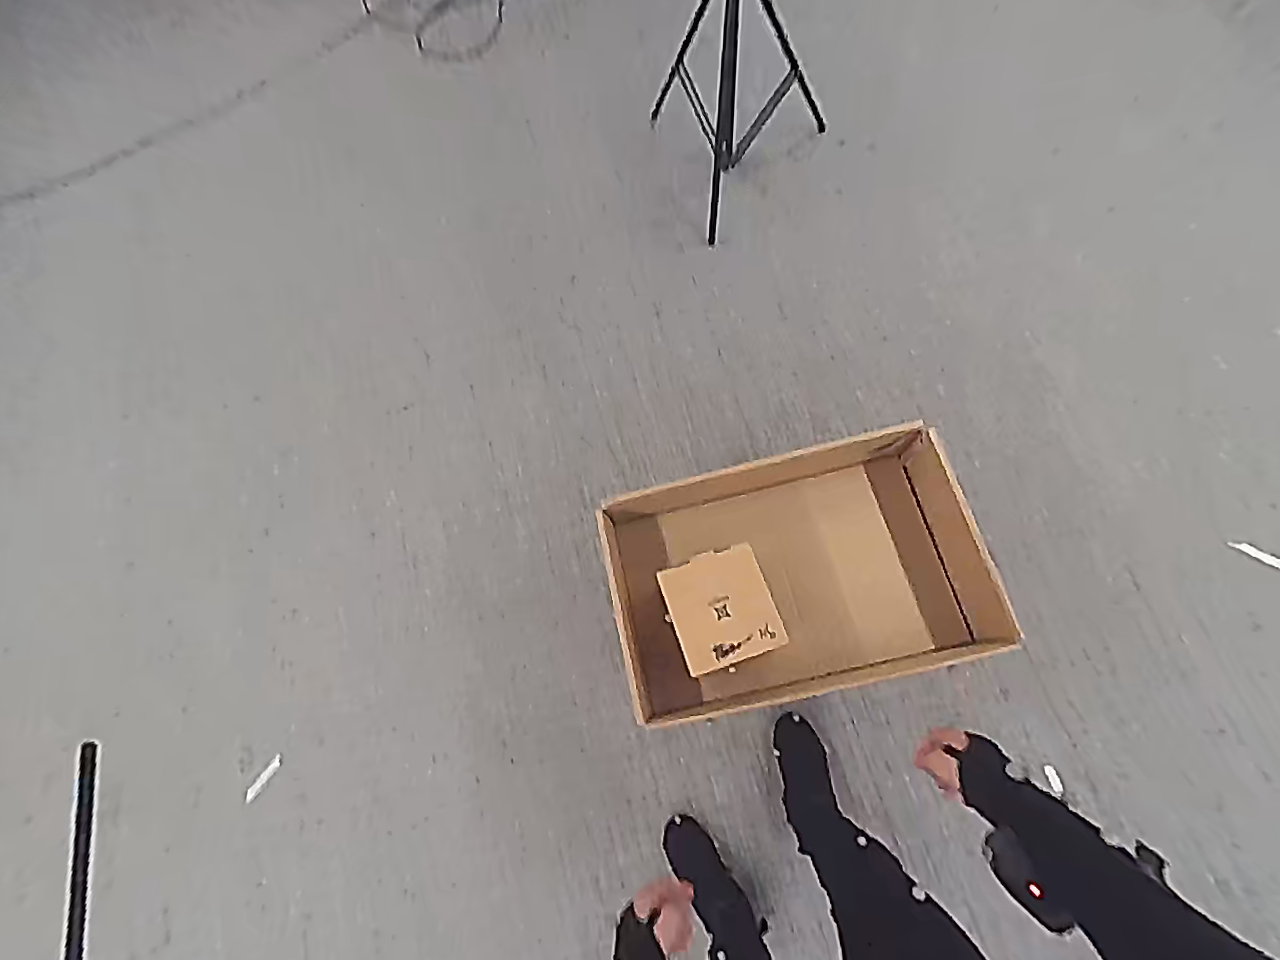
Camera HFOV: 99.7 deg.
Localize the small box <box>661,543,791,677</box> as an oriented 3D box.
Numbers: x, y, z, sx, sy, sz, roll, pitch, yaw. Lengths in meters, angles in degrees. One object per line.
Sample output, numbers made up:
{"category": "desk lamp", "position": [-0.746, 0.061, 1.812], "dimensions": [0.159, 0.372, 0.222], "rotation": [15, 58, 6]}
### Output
{"category": "small box", "position": [0.144, 0.232, 0.945], "dimensions": [0.168, 0.176, 0.179], "rotation": [-20, 71, 1]}
